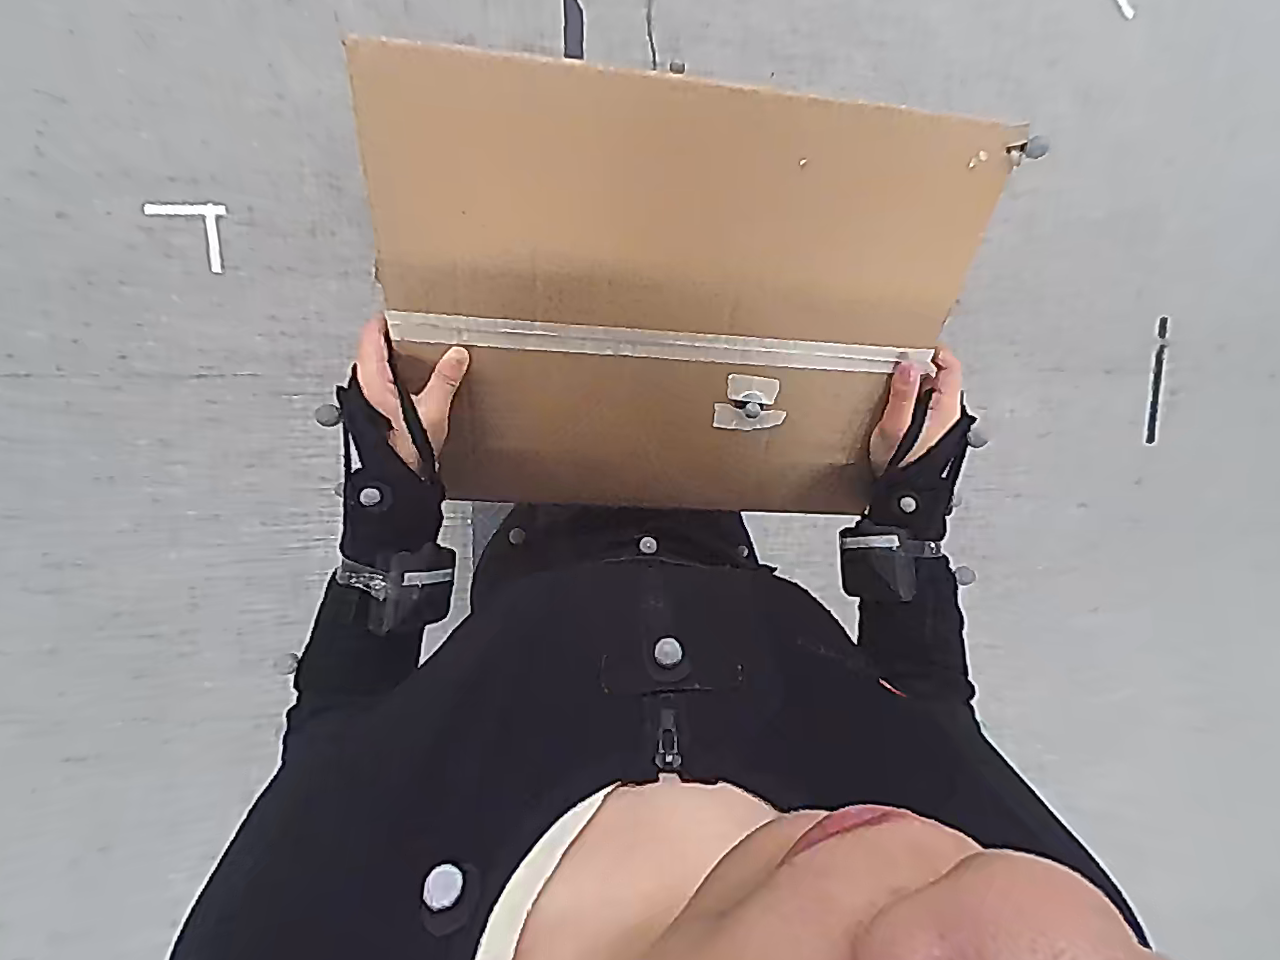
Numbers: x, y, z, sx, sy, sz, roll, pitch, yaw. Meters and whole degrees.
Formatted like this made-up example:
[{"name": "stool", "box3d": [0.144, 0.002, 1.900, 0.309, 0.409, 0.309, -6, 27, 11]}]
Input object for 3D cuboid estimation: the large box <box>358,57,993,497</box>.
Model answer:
[{"name": "large box", "box3d": [0.008, -0.196, 0.534, 0.408, 0.320, 0.320, 1, 127, -8]}]
